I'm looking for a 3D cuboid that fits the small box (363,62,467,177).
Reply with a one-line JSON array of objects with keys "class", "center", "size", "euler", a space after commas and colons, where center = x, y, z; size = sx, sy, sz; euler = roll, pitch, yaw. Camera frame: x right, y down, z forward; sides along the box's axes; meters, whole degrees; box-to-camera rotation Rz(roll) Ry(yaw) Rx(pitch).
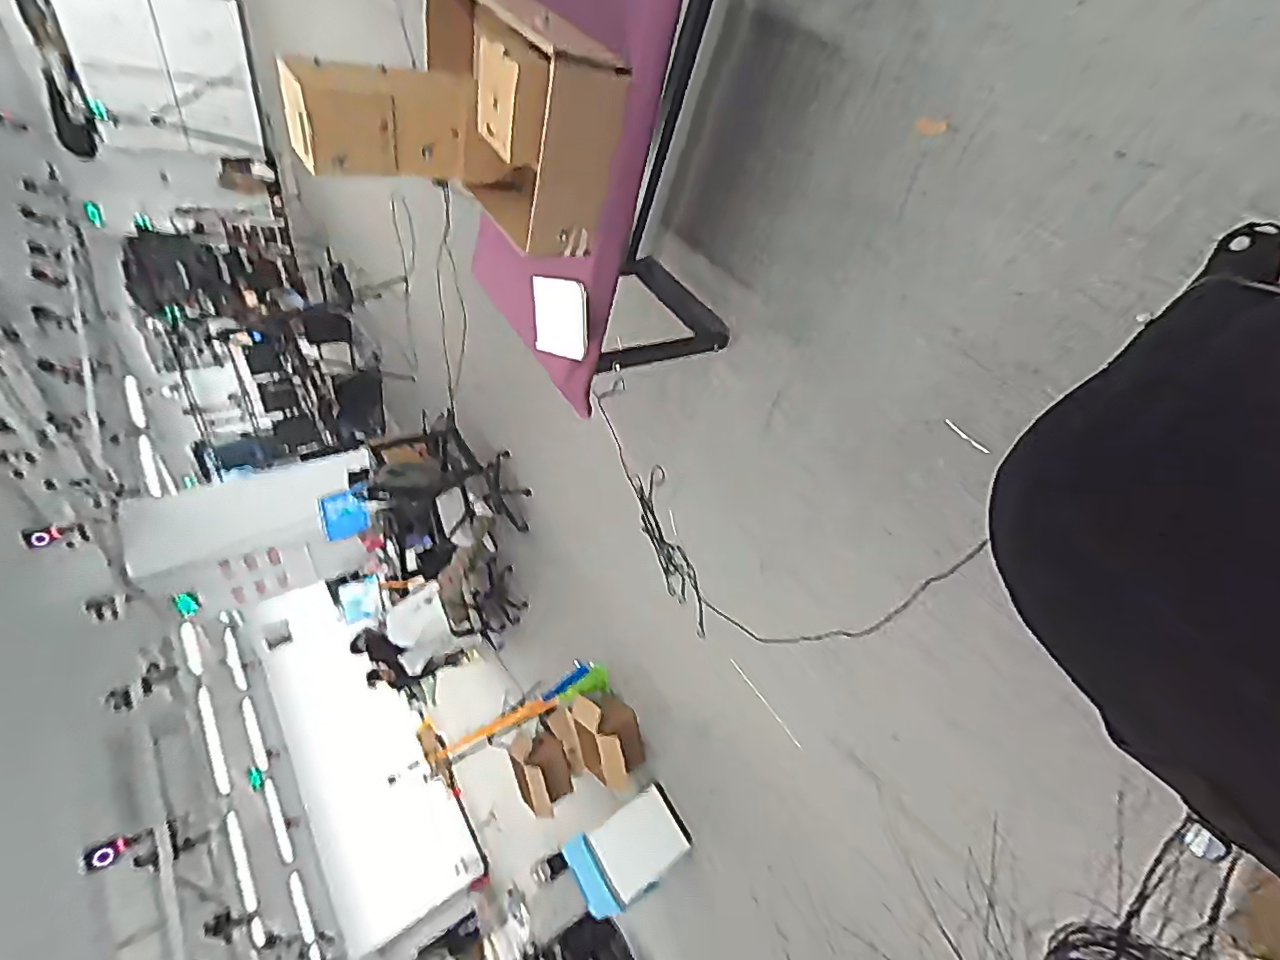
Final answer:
[{"class": "small box", "center": [-0.515, -0.829, 1.251], "size": [0.179, 0.176, 0.168], "euler": [52, 142, 23]}]
